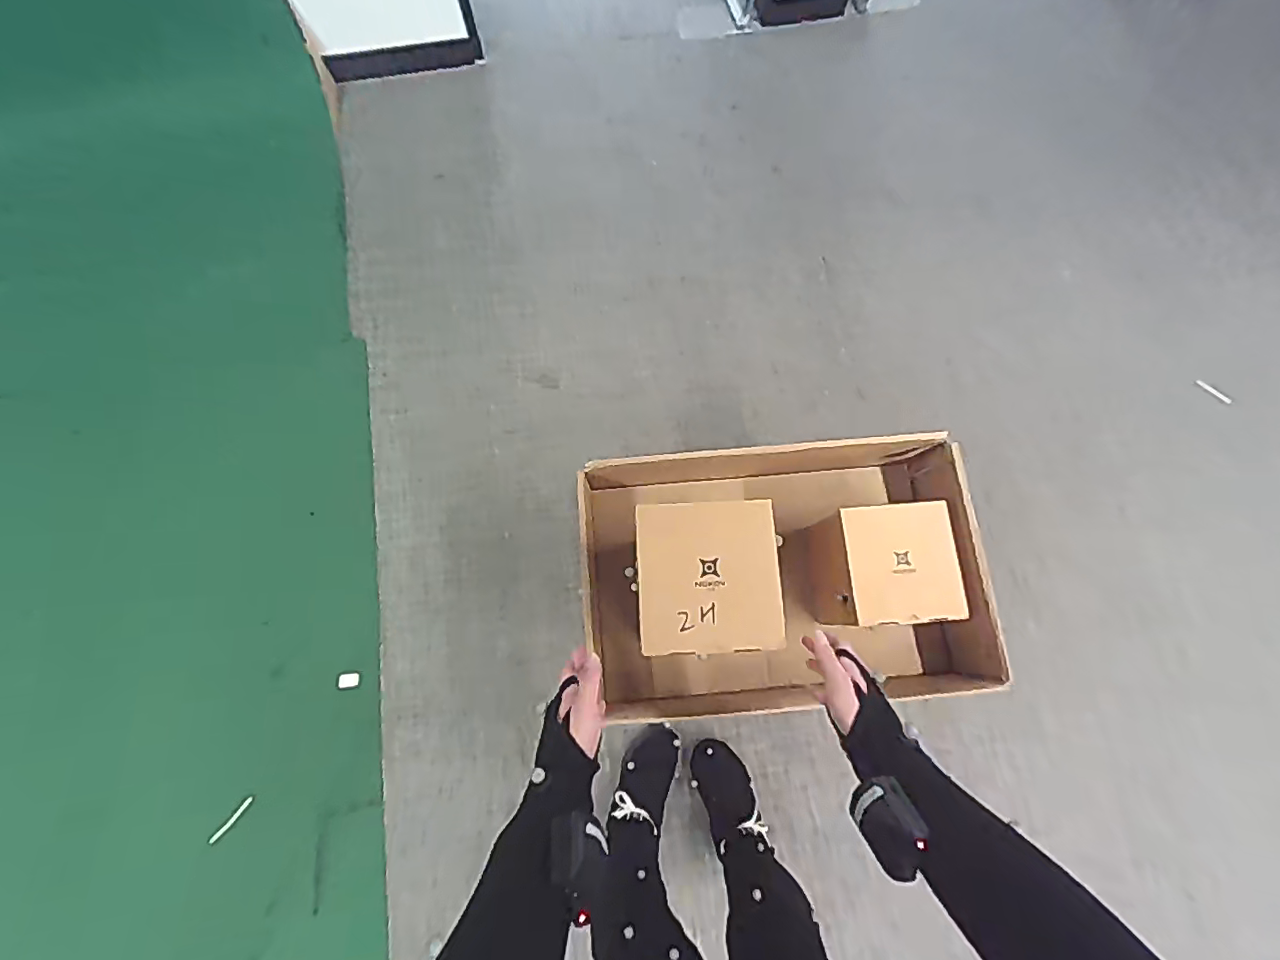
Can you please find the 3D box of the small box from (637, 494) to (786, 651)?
[{"bbox_3d":[0.080,0.123,0.701,0.168,0.176,0.179,-3,77,0],"label":"small box"}]
